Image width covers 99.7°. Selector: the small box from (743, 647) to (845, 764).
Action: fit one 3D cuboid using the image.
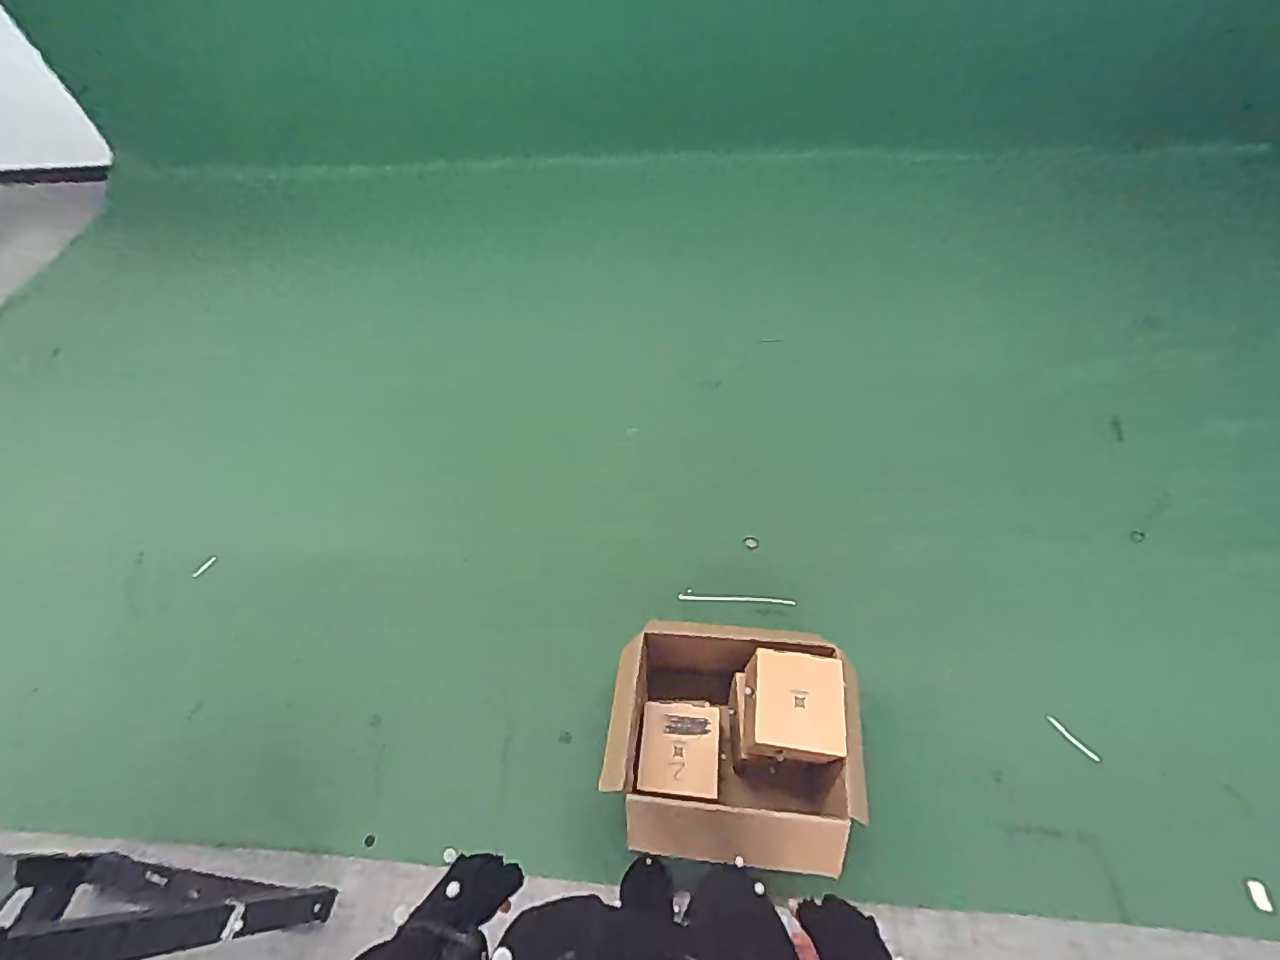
[{"bbox_3d":[0.301,0.454,1.080,0.168,0.176,0.179,6,57,6],"label":"small box"}]
